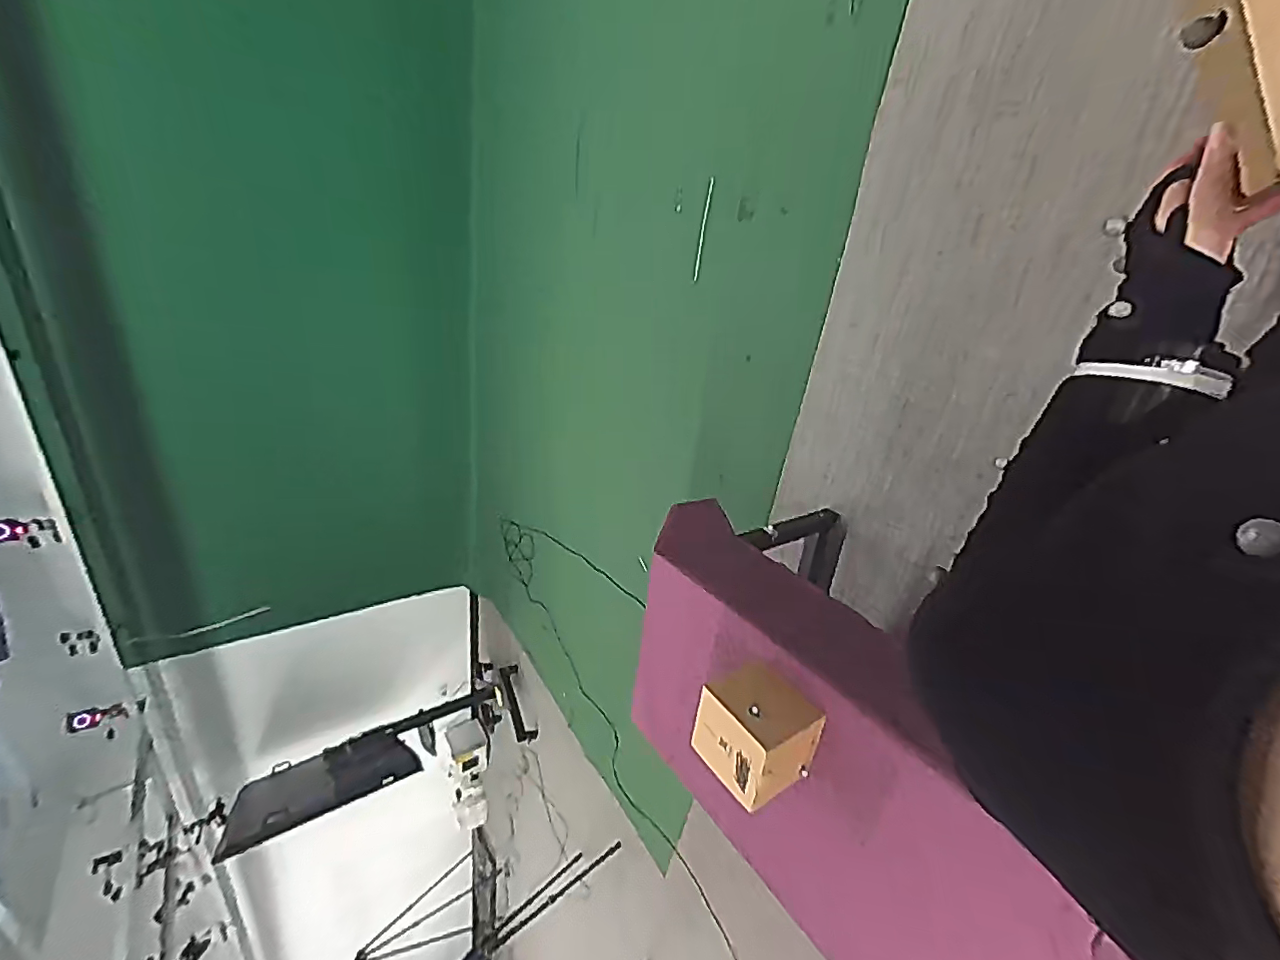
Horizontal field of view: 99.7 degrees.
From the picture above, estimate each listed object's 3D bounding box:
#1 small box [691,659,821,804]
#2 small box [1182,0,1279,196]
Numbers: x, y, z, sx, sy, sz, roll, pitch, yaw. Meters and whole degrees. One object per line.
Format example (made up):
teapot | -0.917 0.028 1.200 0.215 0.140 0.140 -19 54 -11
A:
small box | 0.231 0.490 1.084 0.179 0.176 0.168 36 127 46
small box | 0.418 -0.280 0.283 0.168 0.176 0.179 -13 97 43
